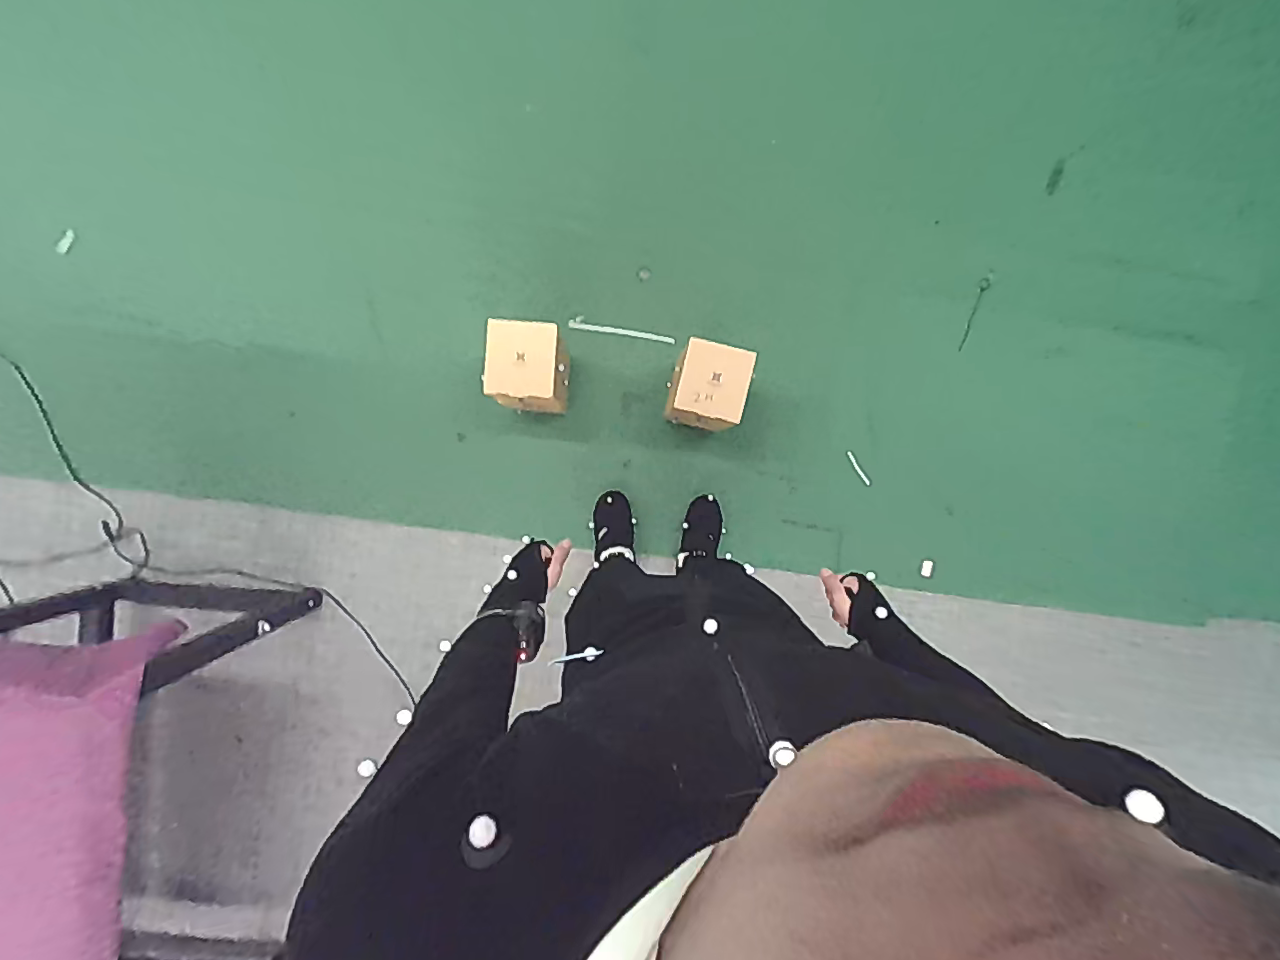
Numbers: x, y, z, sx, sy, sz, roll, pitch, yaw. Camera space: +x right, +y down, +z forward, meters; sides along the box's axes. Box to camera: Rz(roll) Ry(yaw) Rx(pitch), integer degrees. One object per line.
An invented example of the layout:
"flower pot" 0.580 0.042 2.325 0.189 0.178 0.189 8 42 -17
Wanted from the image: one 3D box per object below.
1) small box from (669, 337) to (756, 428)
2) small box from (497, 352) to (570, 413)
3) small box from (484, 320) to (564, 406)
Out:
"small box" 0.174 -0.238 1.360 0.168 0.176 0.179 14 92 -2
"small box" -0.291 -0.284 1.511 0.168 0.176 0.179 5 91 -2
"small box" -0.283 -0.285 1.349 0.168 0.176 0.179 4 92 -2
